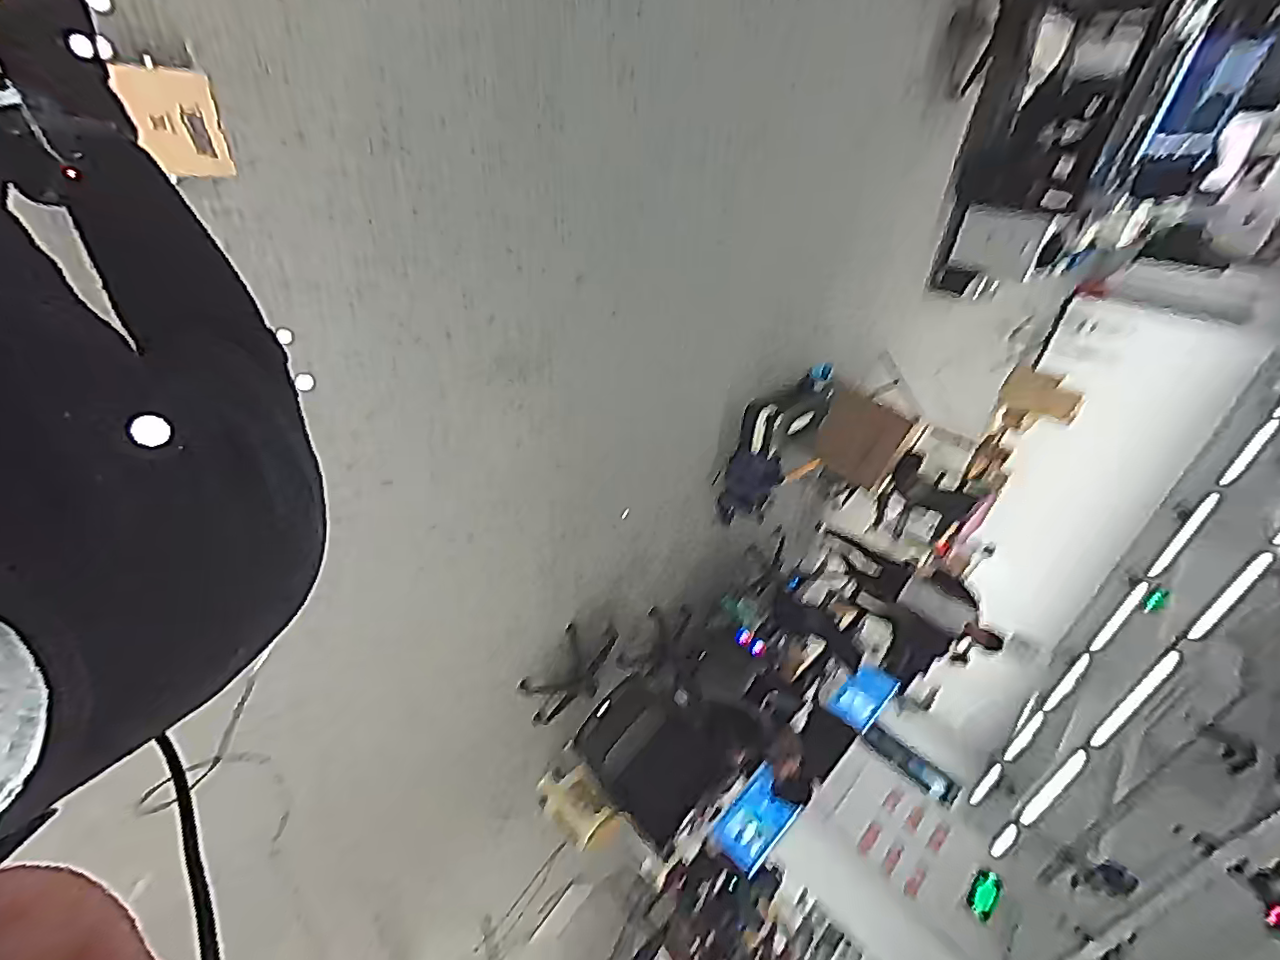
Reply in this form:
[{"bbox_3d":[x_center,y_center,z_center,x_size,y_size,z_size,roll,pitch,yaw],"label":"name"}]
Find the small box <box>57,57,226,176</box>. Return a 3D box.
[{"bbox_3d":[-0.908,-0.662,0.989,0.179,0.176,0.168,-25,135,-37],"label":"small box"}]
